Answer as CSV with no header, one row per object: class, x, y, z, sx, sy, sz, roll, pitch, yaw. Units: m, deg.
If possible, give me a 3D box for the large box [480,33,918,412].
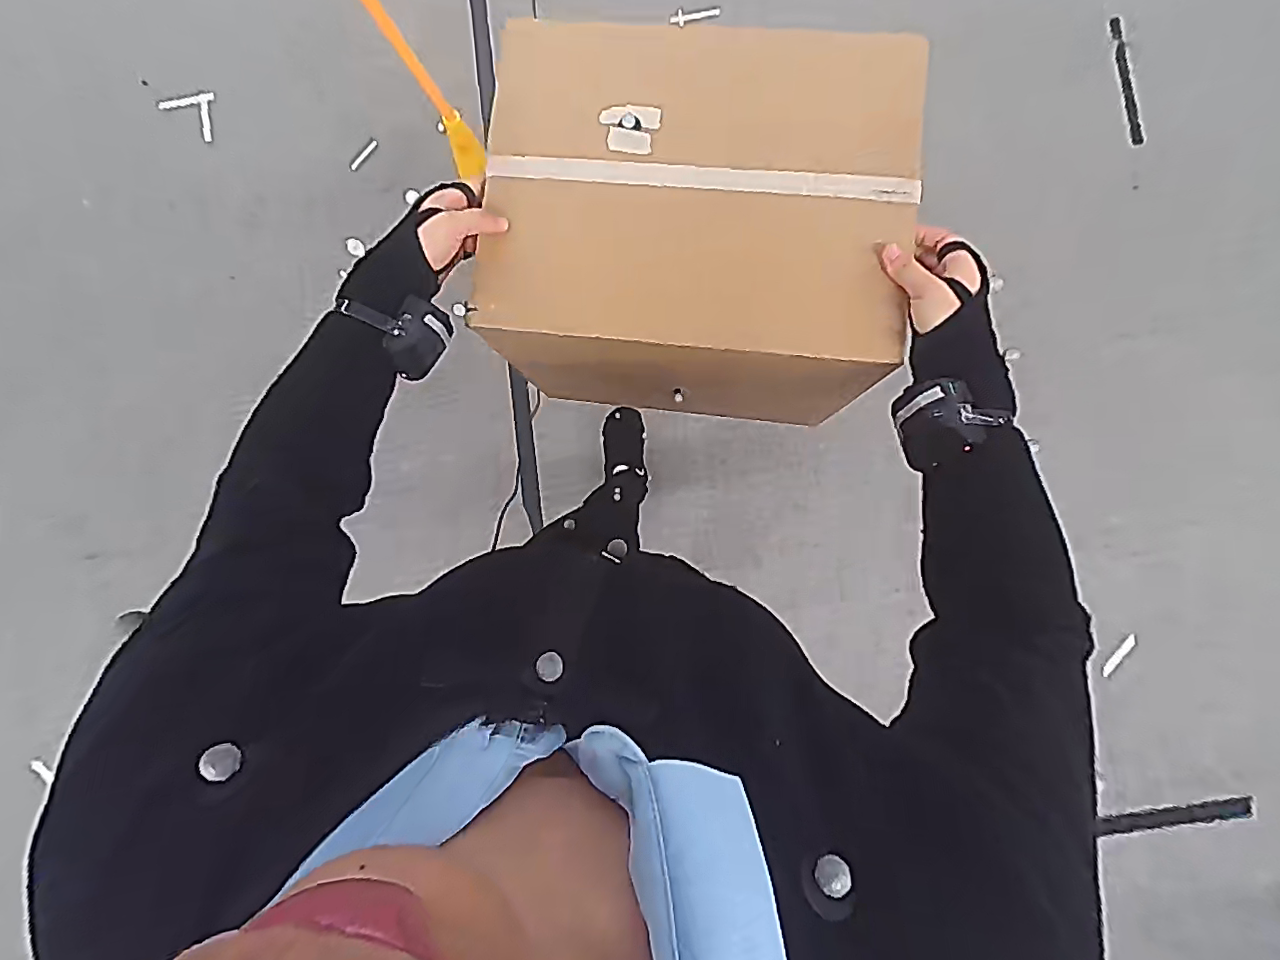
large box,0.069,-0.274,0.666,0.408,0.320,0.320,6,85,6
